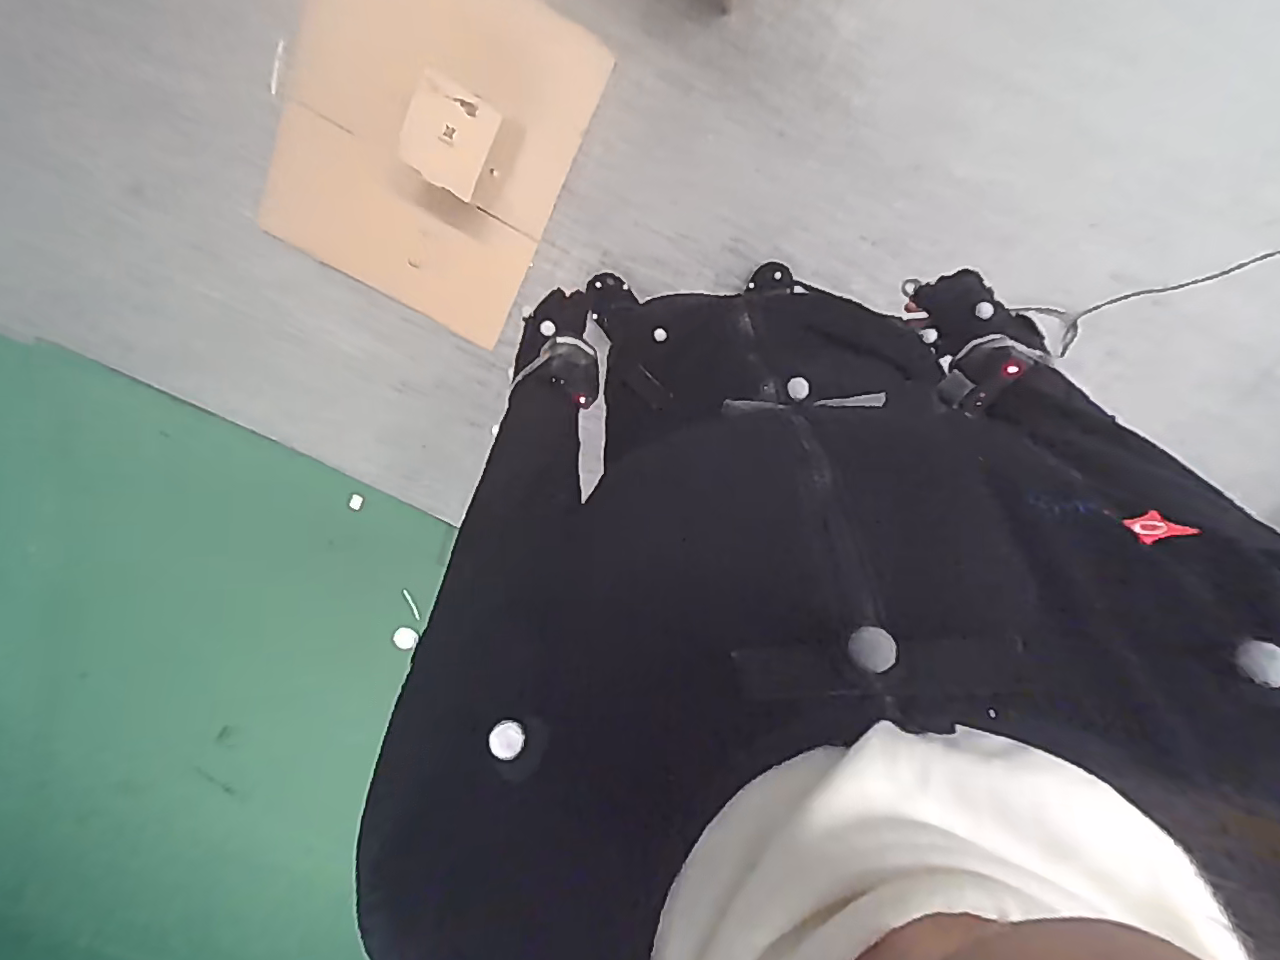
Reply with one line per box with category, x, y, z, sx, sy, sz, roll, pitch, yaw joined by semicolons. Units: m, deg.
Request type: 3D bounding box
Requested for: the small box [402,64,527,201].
small box;-0.355;-0.703;1.119;0.168;0.176;0.179;28;115;-6
